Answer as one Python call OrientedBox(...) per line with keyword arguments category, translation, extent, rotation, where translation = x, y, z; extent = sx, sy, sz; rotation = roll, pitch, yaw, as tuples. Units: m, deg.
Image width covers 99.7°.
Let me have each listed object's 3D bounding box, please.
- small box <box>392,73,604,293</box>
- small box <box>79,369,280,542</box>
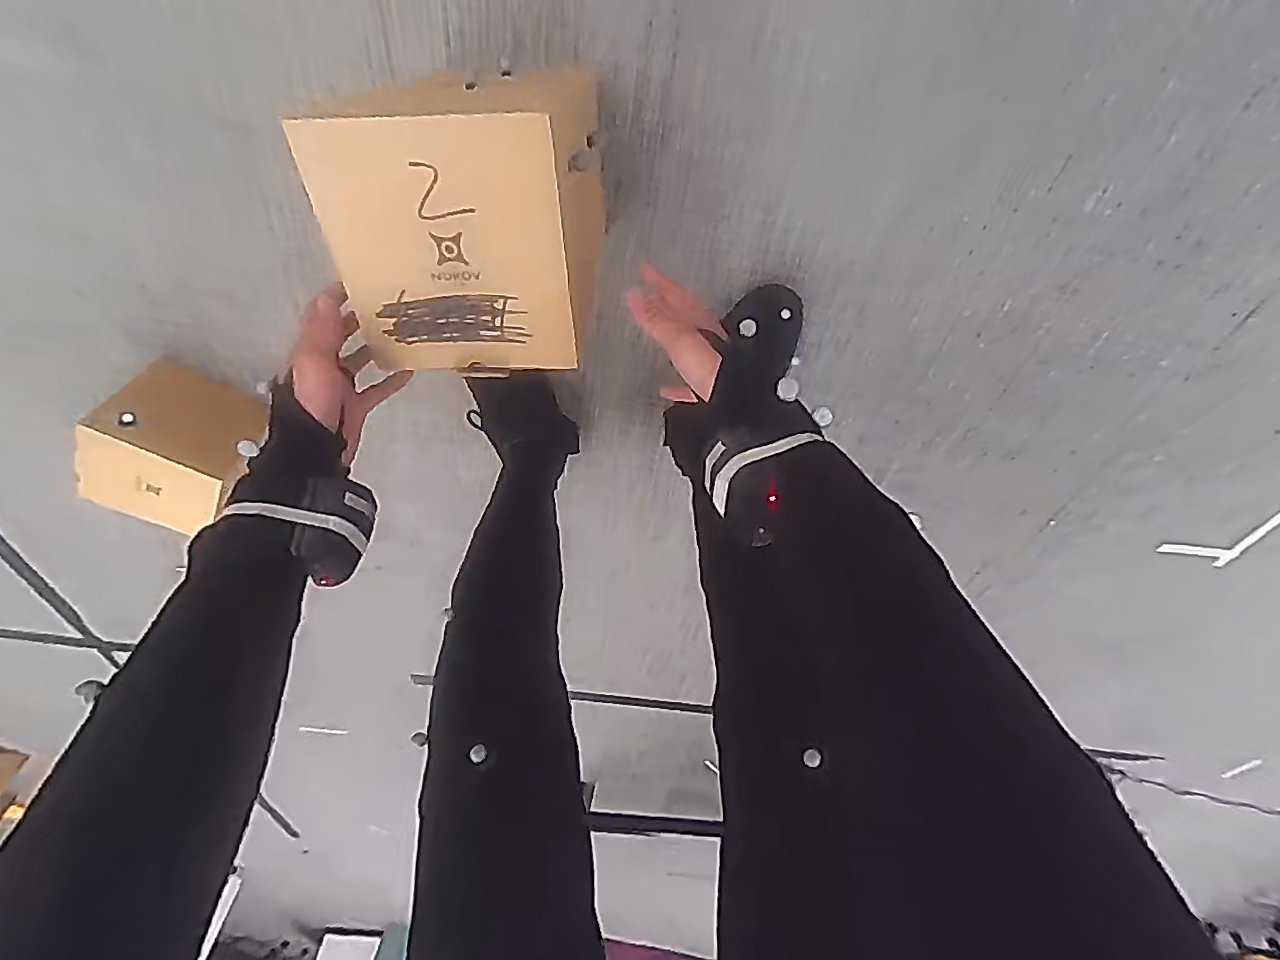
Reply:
OrientedBox(category="small box", translation=(-0.127, -0.313, 0.566), extent=(0.168, 0.176, 0.179), rotation=(0, 132, 2))
OrientedBox(category="small box", translation=(-0.696, -0.040, 0.832), extent=(0.179, 0.176, 0.168), rotation=(29, 127, -21))
